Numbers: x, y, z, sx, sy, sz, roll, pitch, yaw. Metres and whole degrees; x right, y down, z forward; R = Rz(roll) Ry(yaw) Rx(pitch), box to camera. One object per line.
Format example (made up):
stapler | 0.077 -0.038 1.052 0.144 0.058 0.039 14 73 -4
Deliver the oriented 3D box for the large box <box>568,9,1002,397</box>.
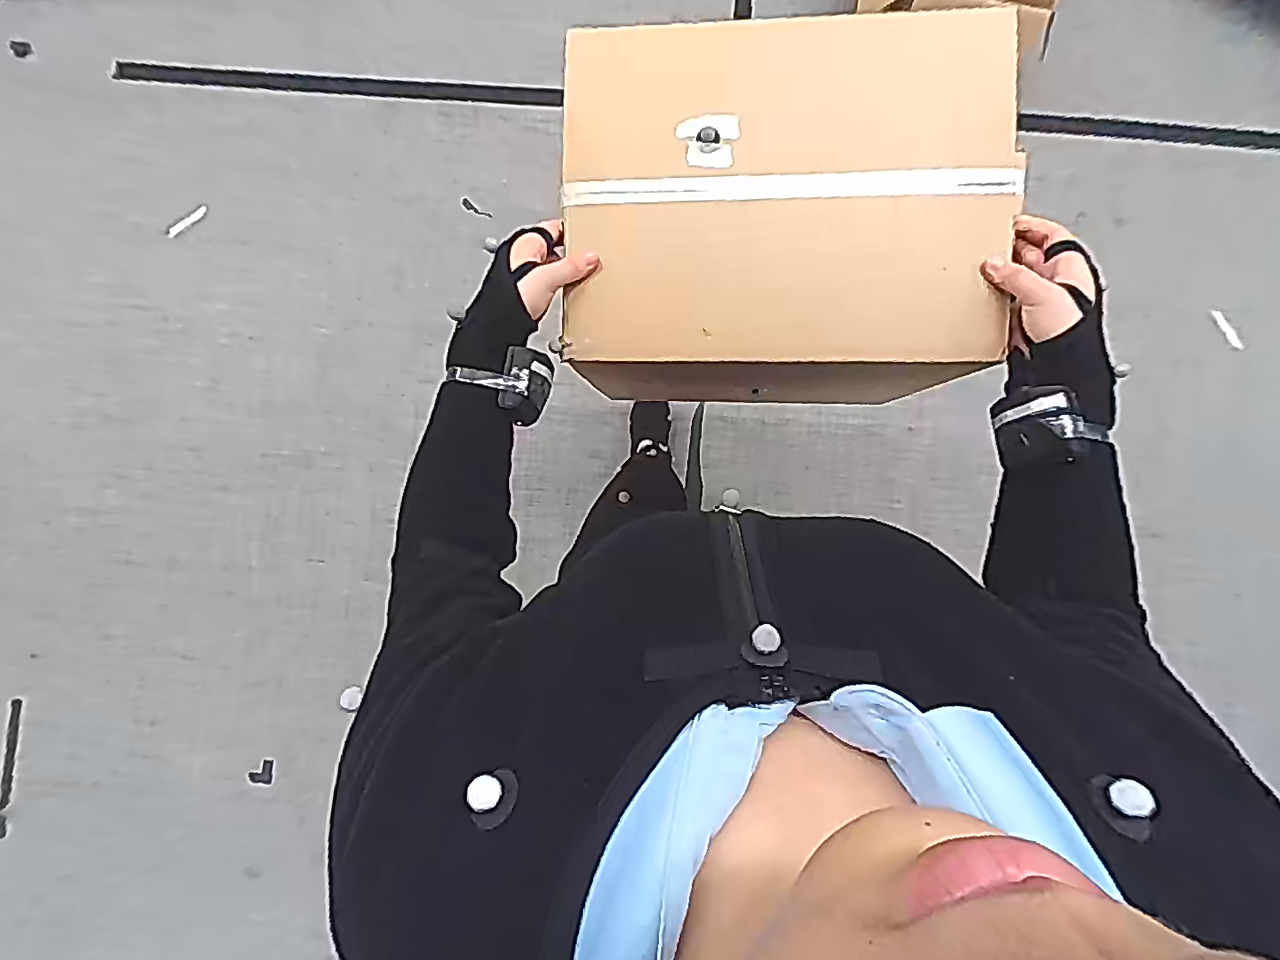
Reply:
large box | 0.146 -0.274 0.657 0.408 0.320 0.320 1 90 6
